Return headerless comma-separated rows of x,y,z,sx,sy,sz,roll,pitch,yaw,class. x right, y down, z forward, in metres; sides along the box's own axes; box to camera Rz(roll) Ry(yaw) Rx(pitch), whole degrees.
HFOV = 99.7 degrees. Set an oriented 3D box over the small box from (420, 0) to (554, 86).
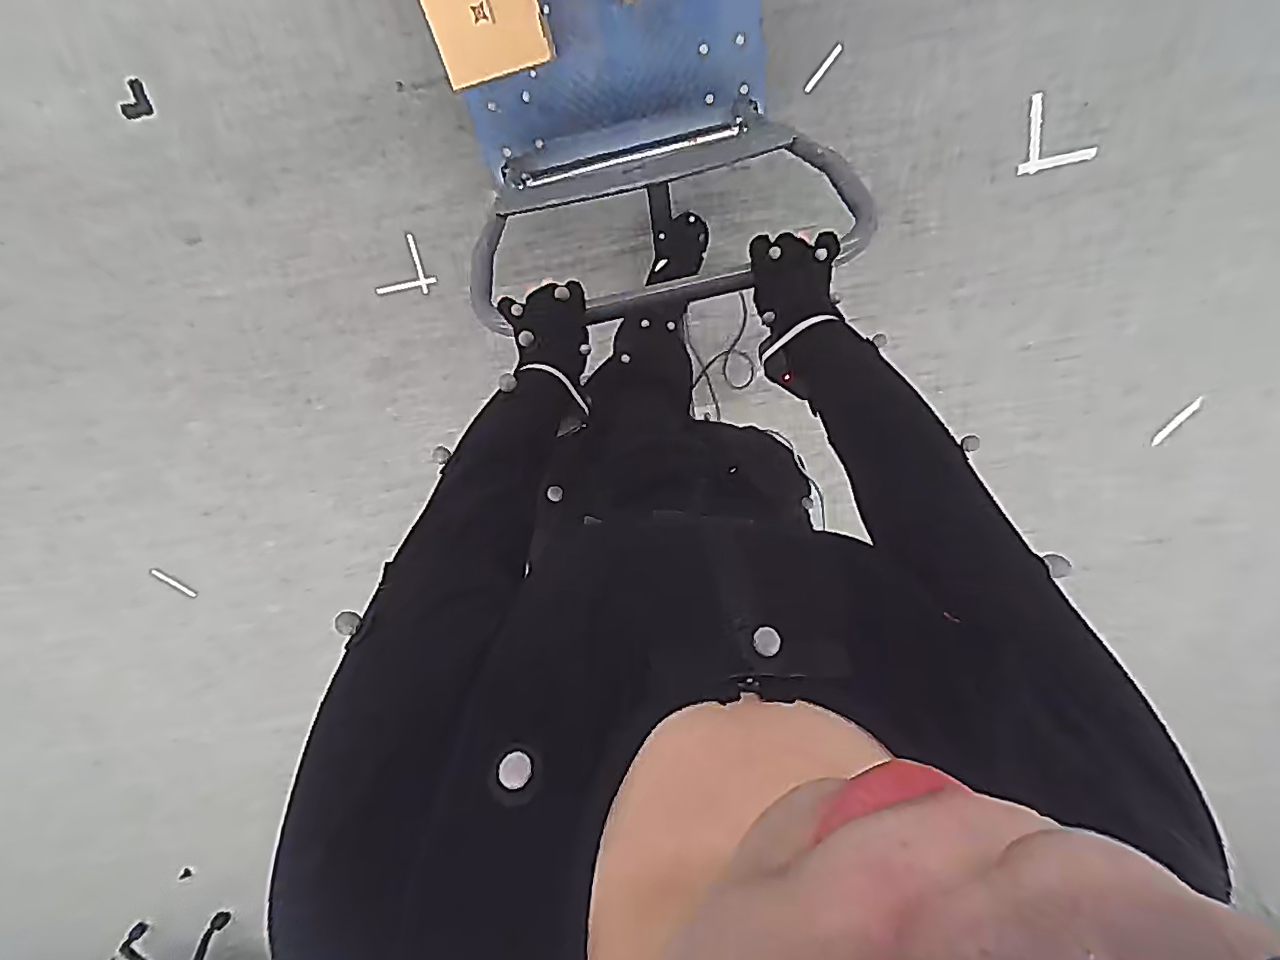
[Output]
-0.254,-0.785,0.912,0.179,0.176,0.168,-15,127,5,small box
